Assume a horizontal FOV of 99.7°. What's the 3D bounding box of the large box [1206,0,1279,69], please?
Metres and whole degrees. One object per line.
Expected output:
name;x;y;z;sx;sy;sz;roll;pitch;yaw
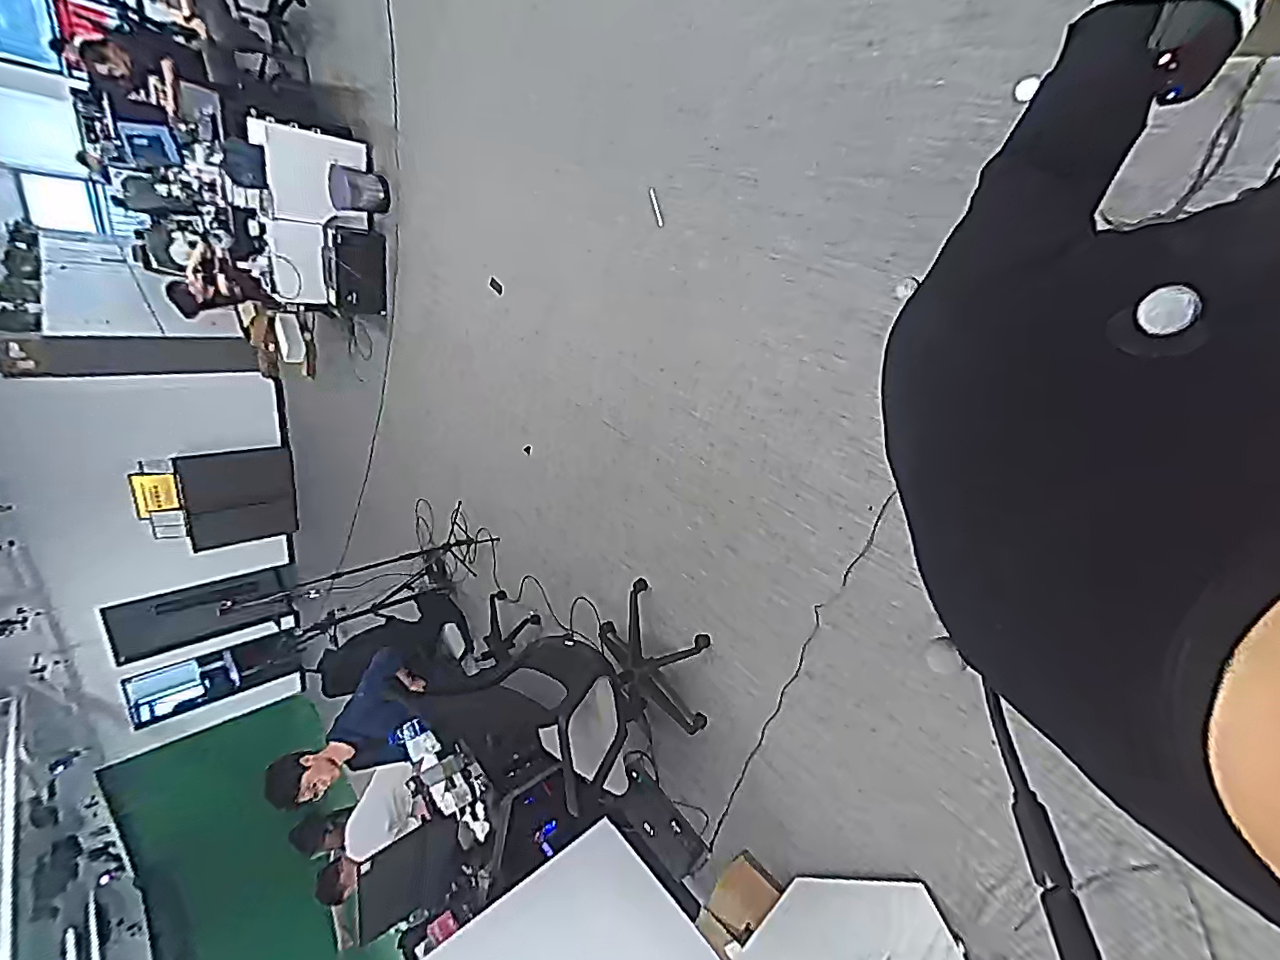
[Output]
large box;0.644;-0.436;0.285;0.408;0.320;0.320;27;131;34
